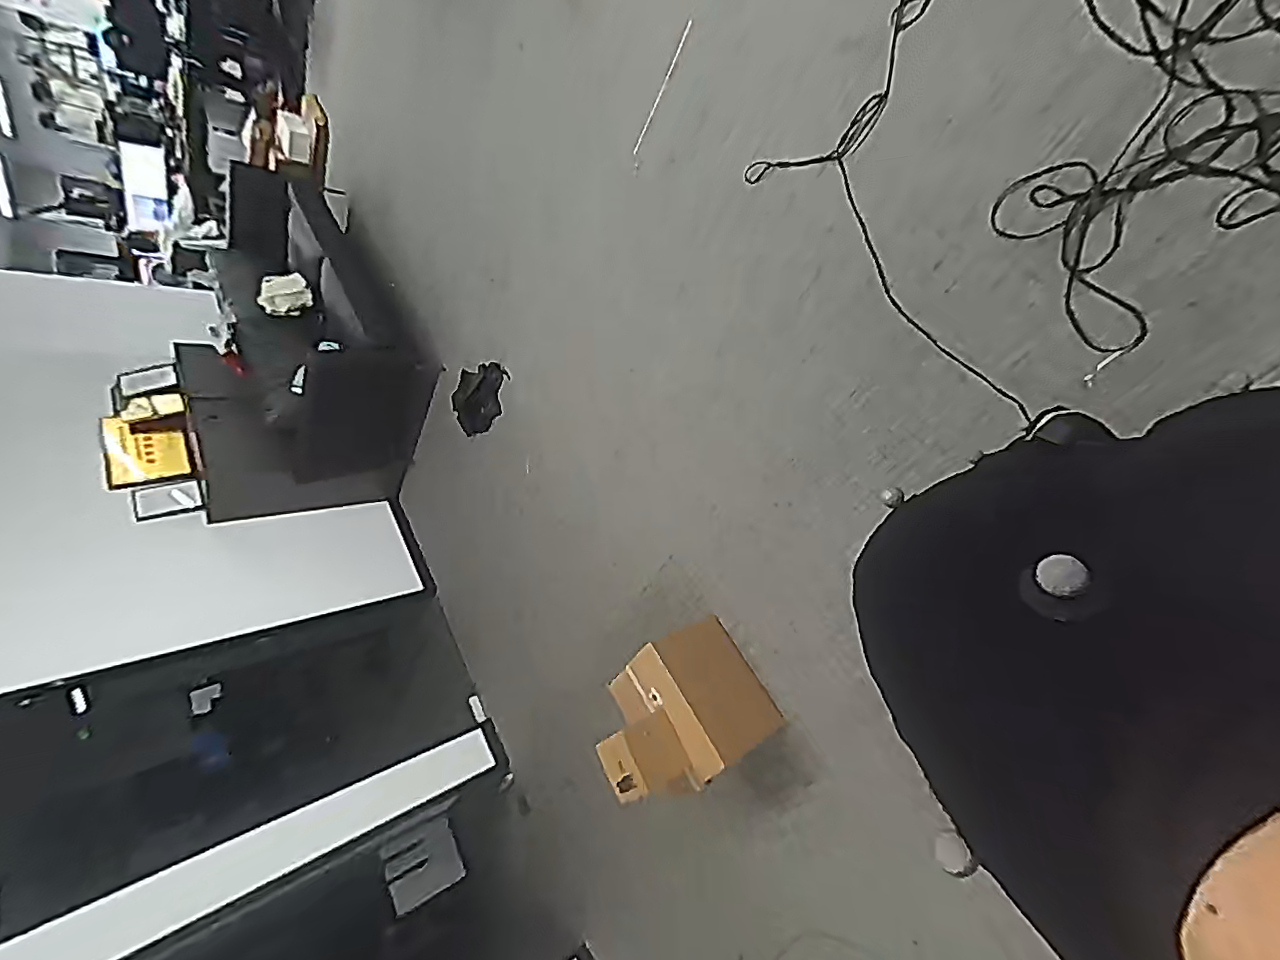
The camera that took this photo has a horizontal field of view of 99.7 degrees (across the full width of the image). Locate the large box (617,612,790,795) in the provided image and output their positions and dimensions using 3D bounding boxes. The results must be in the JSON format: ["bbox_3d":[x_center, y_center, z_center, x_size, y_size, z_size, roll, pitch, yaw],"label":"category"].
[{"bbox_3d":[0.197,0.708,1.755,0.408,0.320,0.320,56,131,27],"label":"large box"}]
